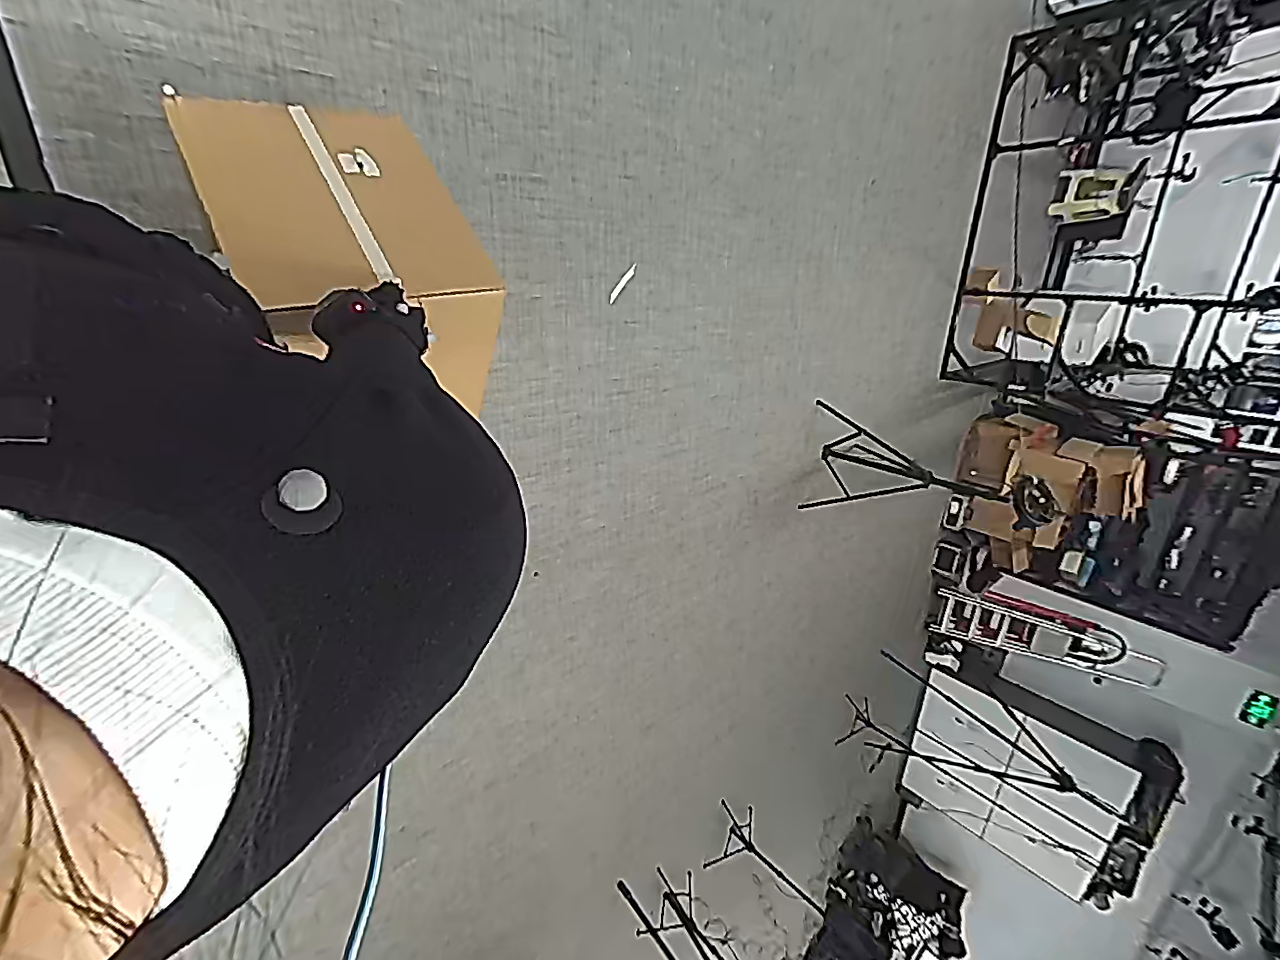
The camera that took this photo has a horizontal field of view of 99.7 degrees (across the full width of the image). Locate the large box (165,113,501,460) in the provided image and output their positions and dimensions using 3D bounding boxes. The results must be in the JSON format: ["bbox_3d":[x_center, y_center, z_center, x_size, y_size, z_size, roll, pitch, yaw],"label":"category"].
[{"bbox_3d":[-0.473,-0.304,0.870,0.320,0.408,0.320,-20,158,-35],"label":"large box"}]
